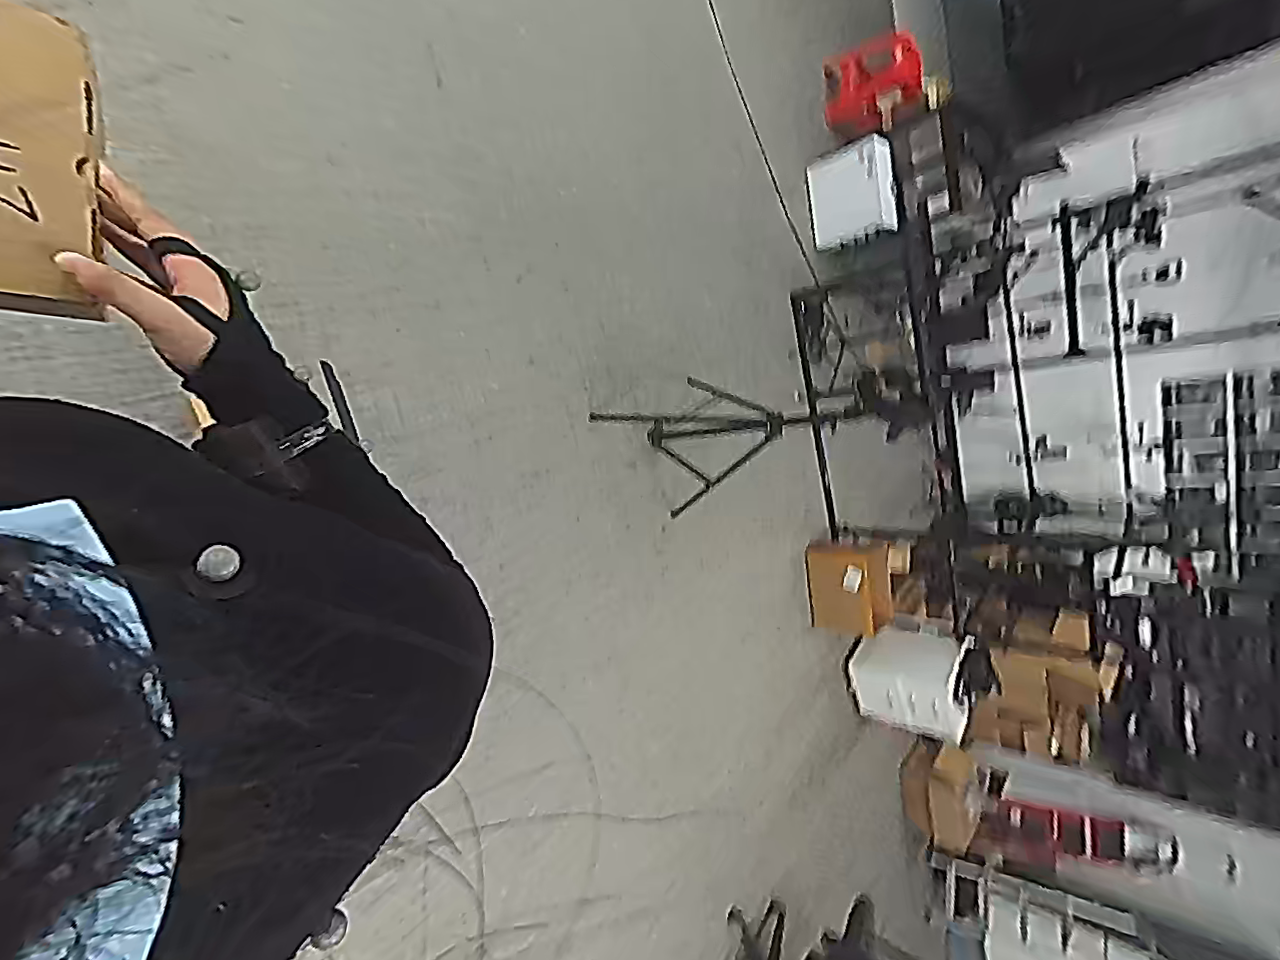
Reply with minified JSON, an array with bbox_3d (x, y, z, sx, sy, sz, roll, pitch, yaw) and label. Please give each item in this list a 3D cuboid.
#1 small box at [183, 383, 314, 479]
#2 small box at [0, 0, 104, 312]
[{"bbox_3d":[-0.869,-0.108,1.200,0.179,0.176,0.168,-30,109,-41],"label":"small box"},{"bbox_3d":[-0.455,-0.202,0.329,0.179,0.176,0.168,-3,102,-44],"label":"small box"}]
